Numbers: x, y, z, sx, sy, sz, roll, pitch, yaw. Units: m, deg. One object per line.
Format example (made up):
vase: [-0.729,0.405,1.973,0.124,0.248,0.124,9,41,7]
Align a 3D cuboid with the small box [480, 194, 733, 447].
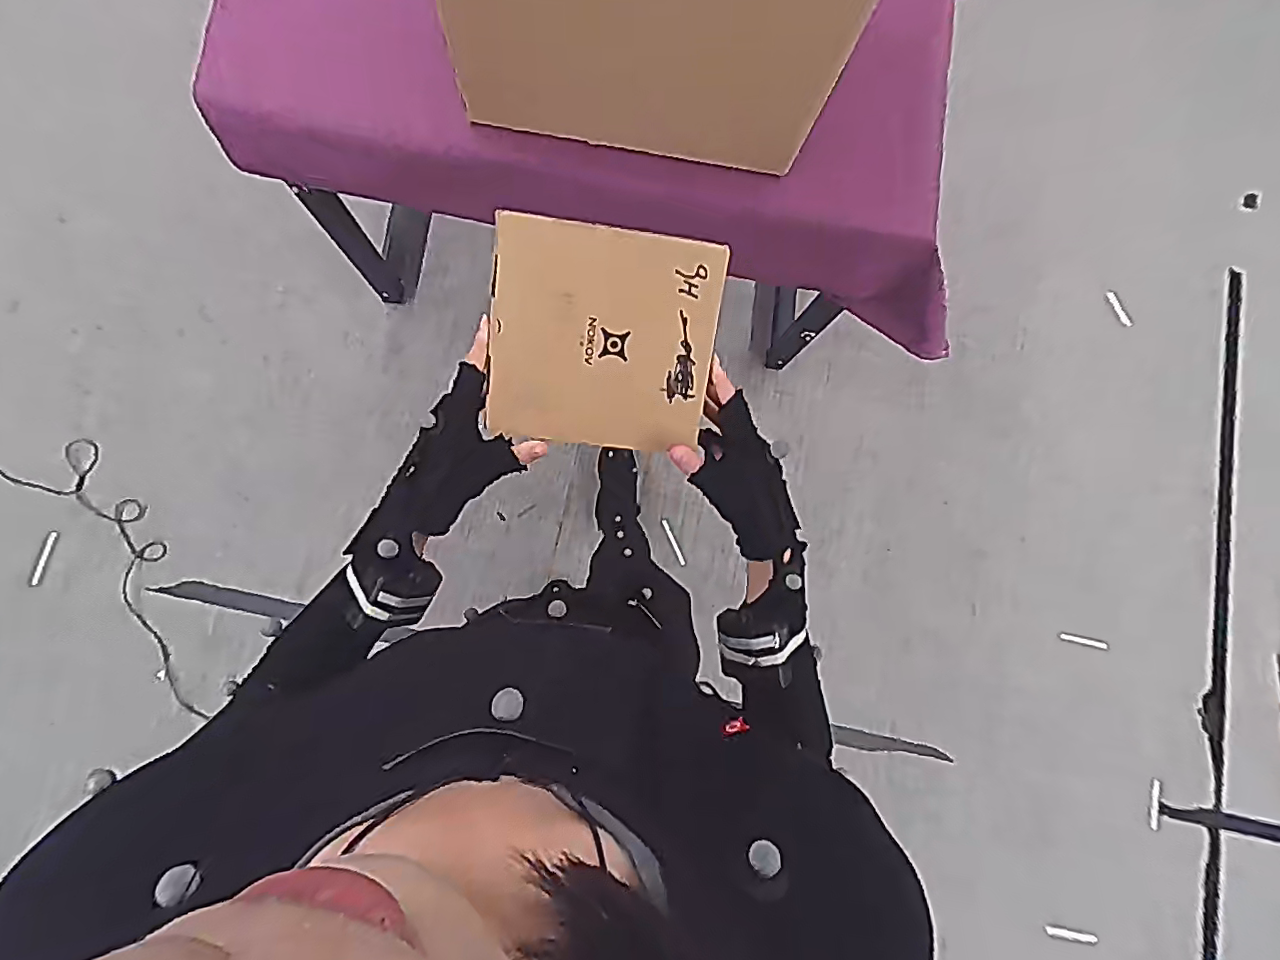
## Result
small box: [-0.033,-0.136,0.488,0.179,0.176,0.168,7,105,-7]
